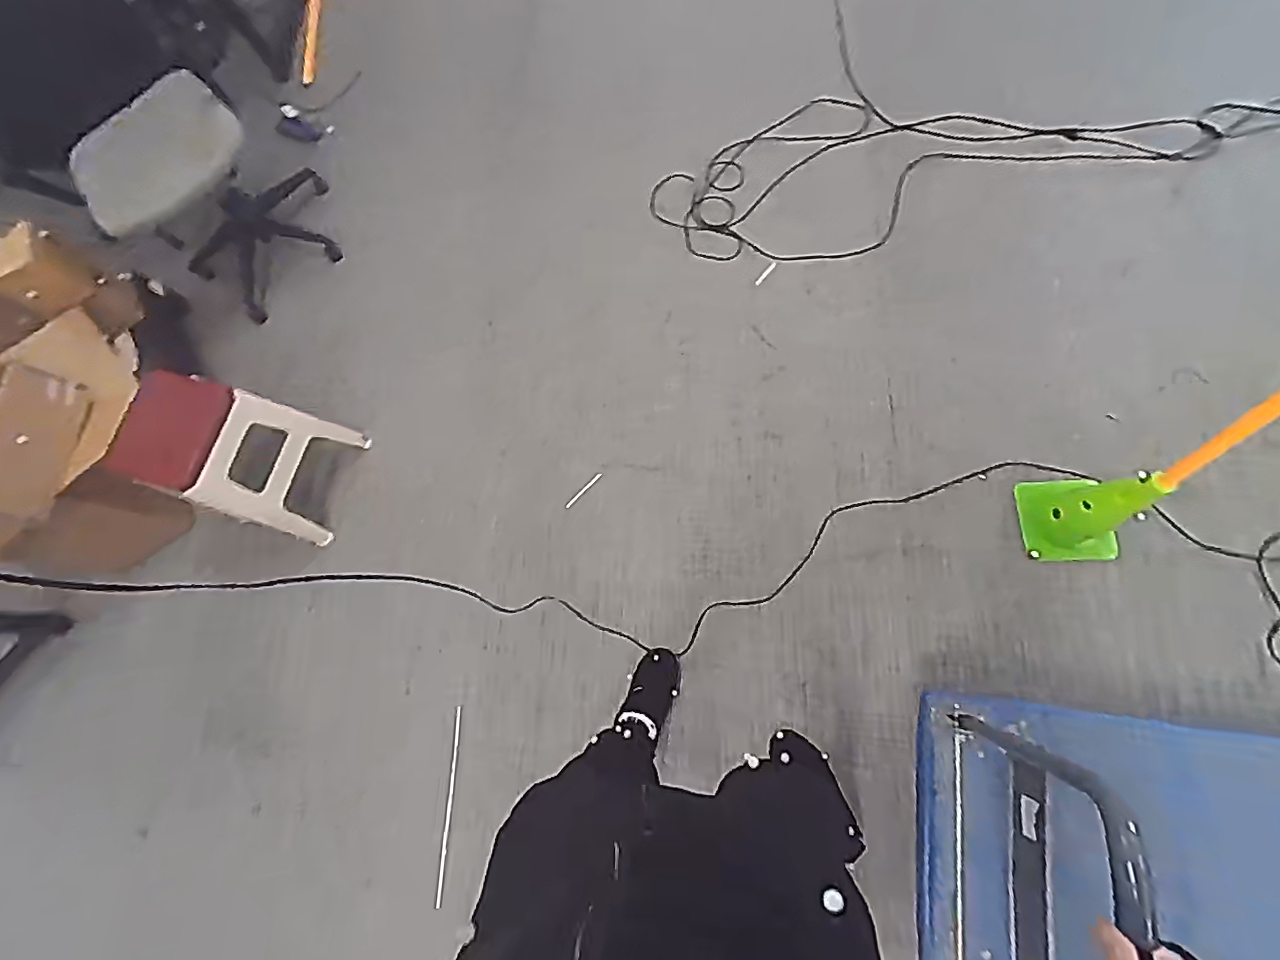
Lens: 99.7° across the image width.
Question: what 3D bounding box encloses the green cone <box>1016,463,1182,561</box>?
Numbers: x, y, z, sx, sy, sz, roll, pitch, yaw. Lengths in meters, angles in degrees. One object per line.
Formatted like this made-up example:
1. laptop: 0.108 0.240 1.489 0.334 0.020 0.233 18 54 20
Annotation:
1. green cone: 1.019 0.044 1.164 0.200 0.368 0.202 -4 72 10
